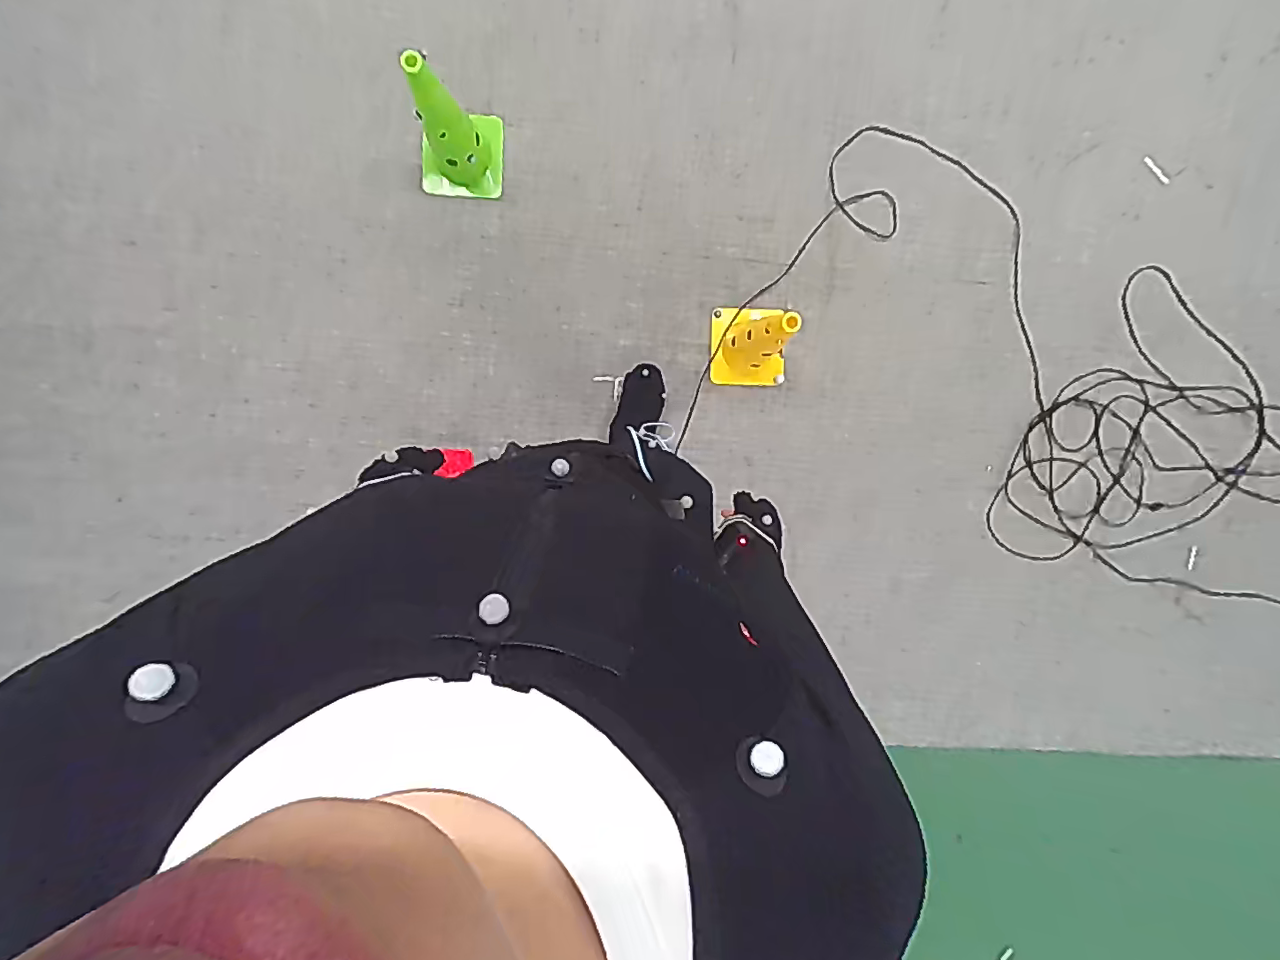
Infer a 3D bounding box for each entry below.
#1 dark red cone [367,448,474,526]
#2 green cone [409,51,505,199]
[{"bbox_3d":[-0.529,0.039,1.249,0.202,0.394,0.201,-1,97,-2],"label":"dark red cone"},{"bbox_3d":[-0.433,-0.802,1.193,0.202,0.368,0.200,3,96,-4],"label":"green cone"}]
